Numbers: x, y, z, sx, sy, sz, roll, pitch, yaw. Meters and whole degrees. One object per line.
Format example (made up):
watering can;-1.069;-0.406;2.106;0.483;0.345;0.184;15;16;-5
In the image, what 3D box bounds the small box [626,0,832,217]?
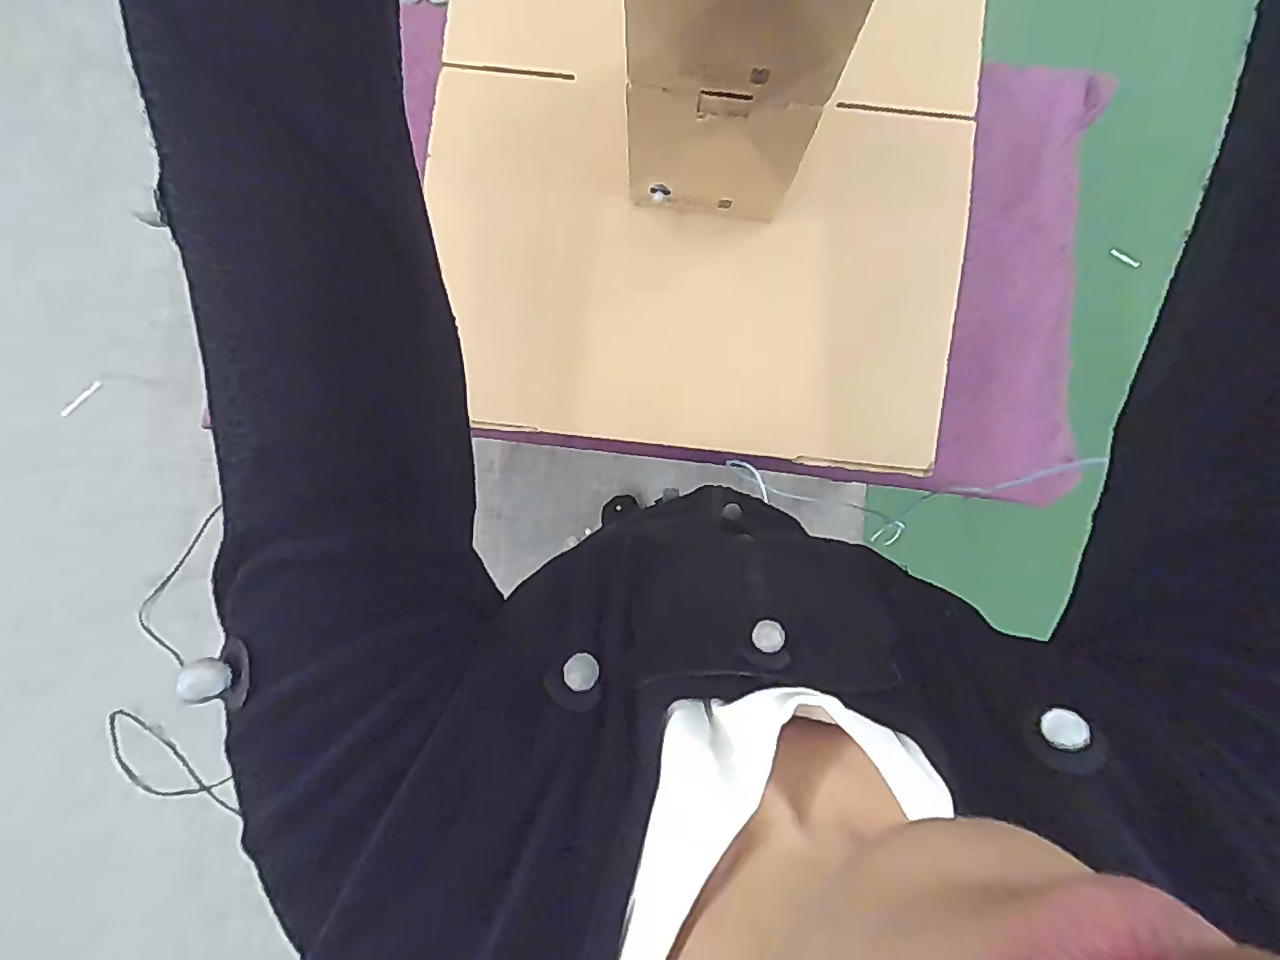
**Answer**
small box;0.077;-0.382;0.526;0.168;0.176;0.179;4;87;0
